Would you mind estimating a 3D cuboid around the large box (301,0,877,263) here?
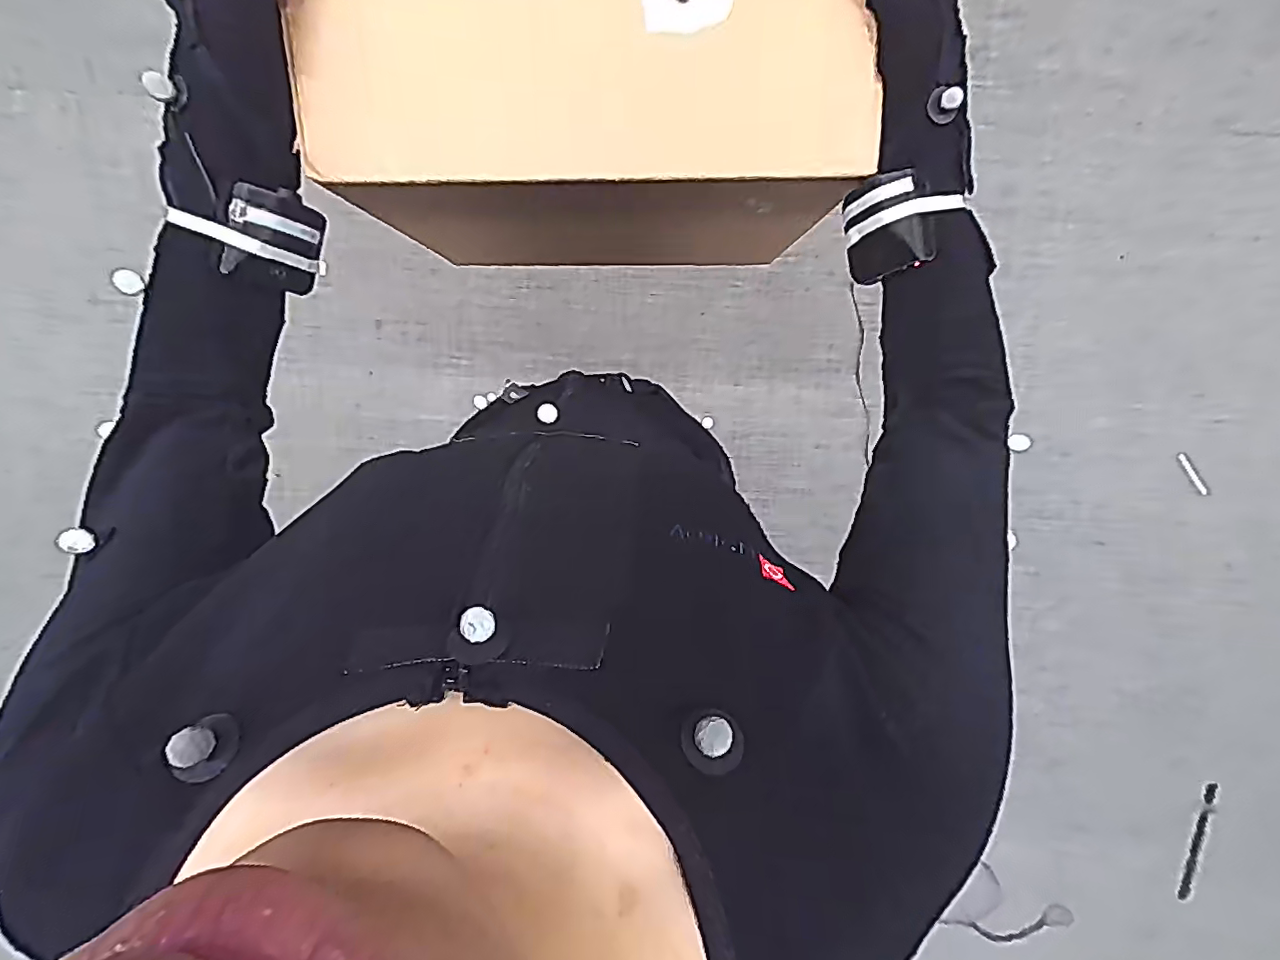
[{"bbox_3d":[-0.037,-0.402,0.509,0.408,0.320,0.320,0,101,0],"label":"large box"}]
